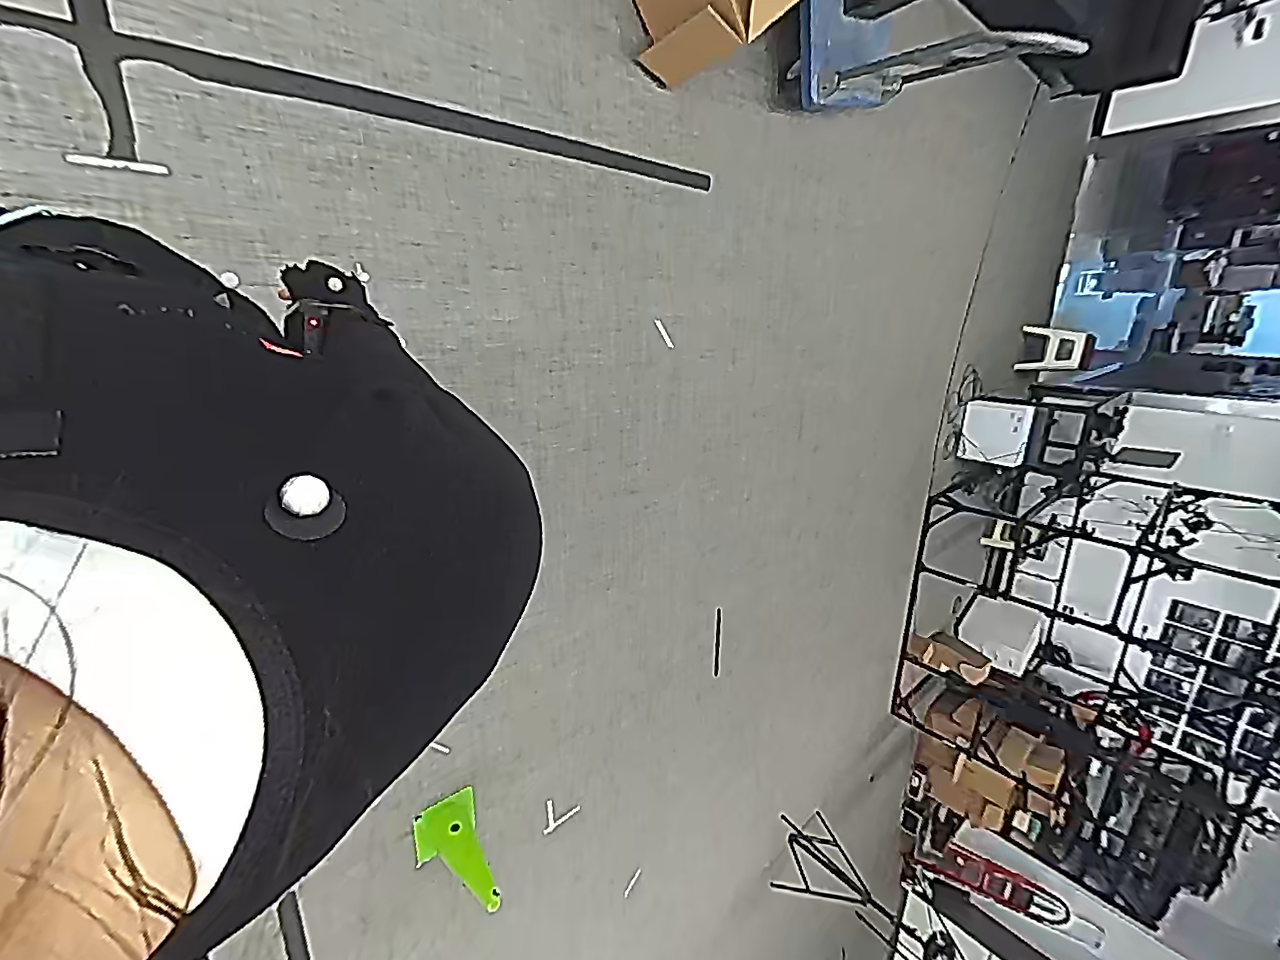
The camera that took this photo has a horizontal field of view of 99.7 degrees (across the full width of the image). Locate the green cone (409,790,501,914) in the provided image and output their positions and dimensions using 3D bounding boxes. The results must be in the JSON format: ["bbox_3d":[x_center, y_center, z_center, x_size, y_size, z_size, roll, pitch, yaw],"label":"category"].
[{"bbox_3d":[-0.540,1.190,1.670,0.202,0.368,0.200,-14,112,-41],"label":"green cone"}]
